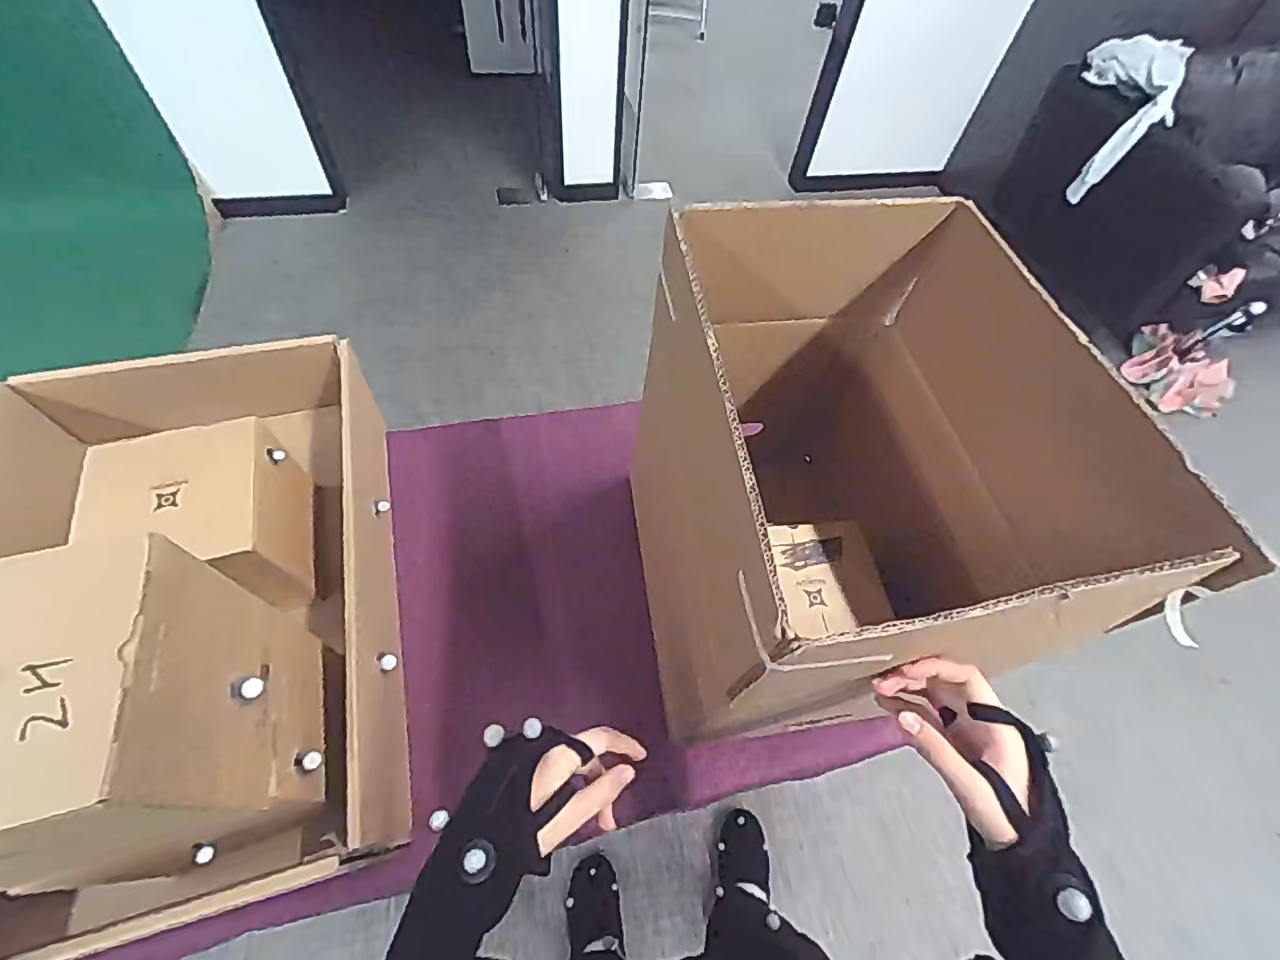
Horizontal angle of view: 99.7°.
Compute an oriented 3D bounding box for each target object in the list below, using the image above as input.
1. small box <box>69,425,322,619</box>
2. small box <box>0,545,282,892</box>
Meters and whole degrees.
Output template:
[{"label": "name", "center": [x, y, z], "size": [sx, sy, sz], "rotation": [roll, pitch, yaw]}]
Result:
[{"label": "small box", "center": [-0.490, 0.068, 0.626], "size": [0.168, 0.176, 0.179], "rotation": [-14, 60, -12]}, {"label": "small box", "center": [-0.387, 0.169, 0.373], "size": [0.179, 0.176, 0.168], "rotation": [-11, 59, -11]}]
